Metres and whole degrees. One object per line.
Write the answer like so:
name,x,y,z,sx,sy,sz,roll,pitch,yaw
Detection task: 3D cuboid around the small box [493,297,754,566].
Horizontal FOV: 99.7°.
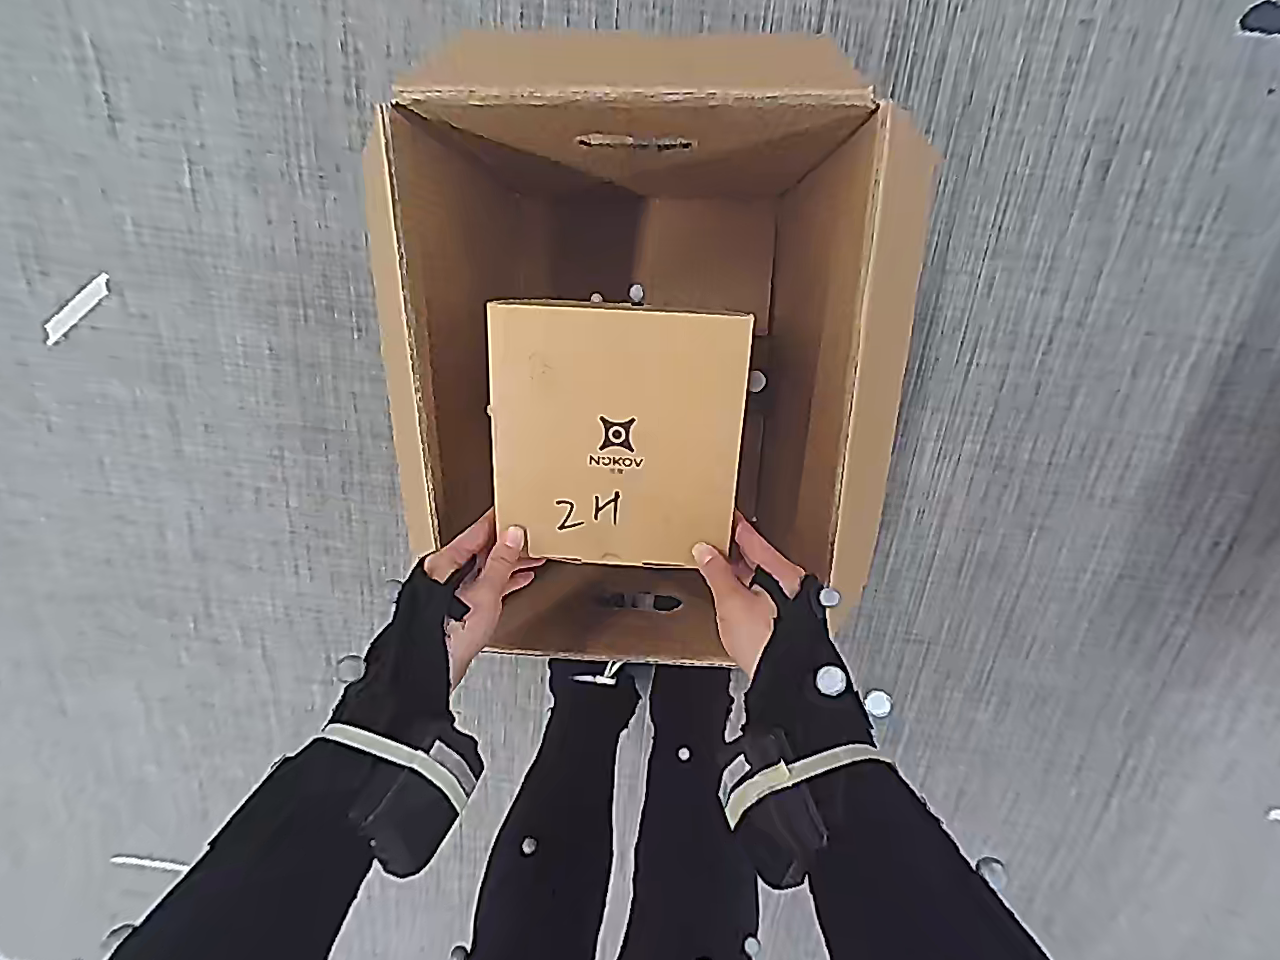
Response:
small box,-0.012,-0.051,0.434,0.168,0.176,0.179,3,109,2
